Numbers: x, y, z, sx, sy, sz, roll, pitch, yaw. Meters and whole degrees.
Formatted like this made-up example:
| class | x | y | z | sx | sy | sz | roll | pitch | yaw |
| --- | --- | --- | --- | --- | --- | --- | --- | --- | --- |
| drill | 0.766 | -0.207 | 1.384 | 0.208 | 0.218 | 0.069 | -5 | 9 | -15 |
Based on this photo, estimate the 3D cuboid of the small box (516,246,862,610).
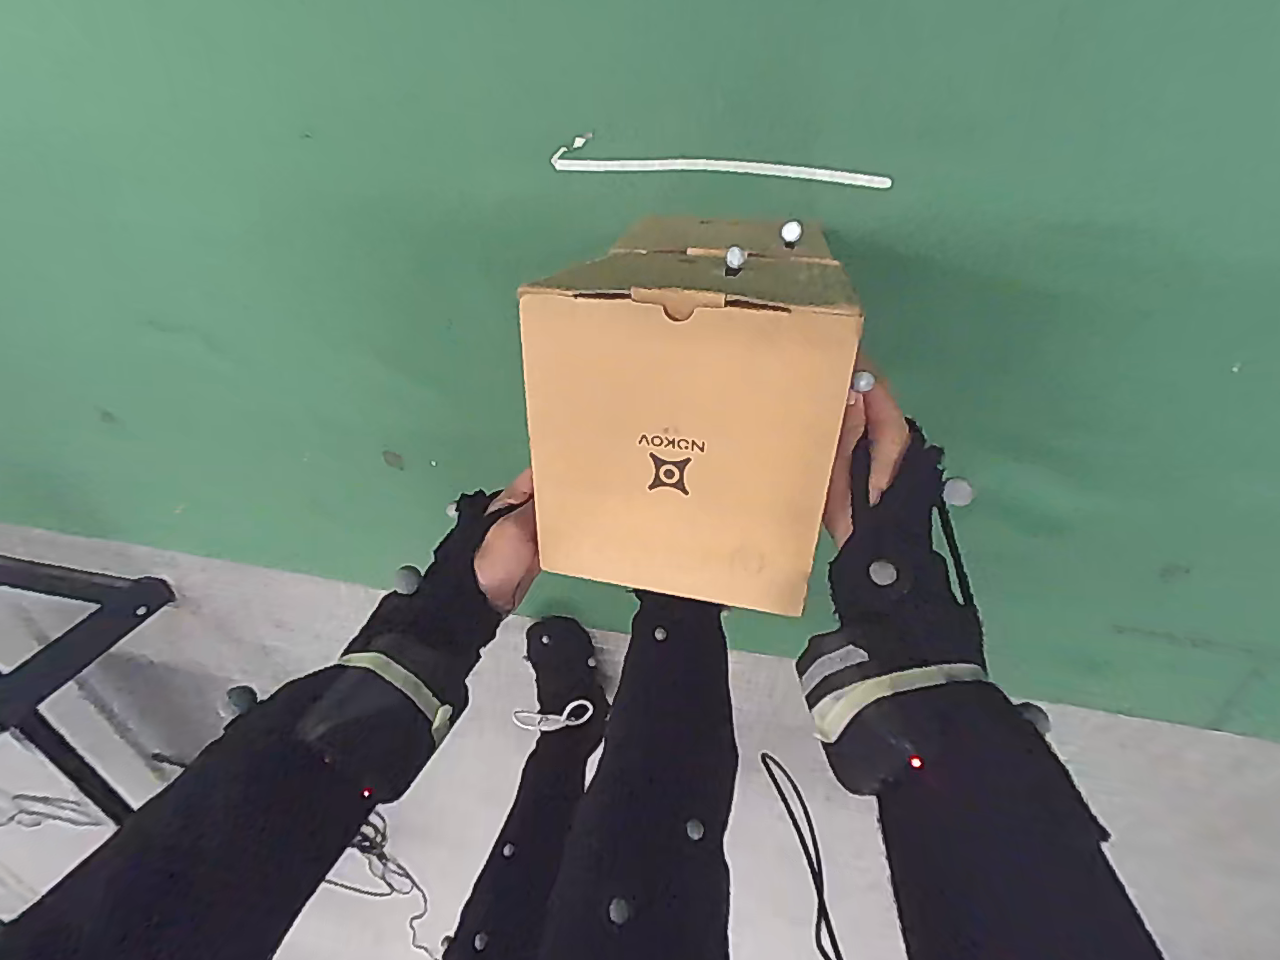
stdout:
| class | x | y | z | sx | sy | sz | roll | pitch | yaw |
| --- | --- | --- | --- | --- | --- | --- | --- | --- | --- |
| small box | 0.037 | -0.049 | 0.354 | 0.168 | 0.176 | 0.179 | 8 | 118 | 13 |
